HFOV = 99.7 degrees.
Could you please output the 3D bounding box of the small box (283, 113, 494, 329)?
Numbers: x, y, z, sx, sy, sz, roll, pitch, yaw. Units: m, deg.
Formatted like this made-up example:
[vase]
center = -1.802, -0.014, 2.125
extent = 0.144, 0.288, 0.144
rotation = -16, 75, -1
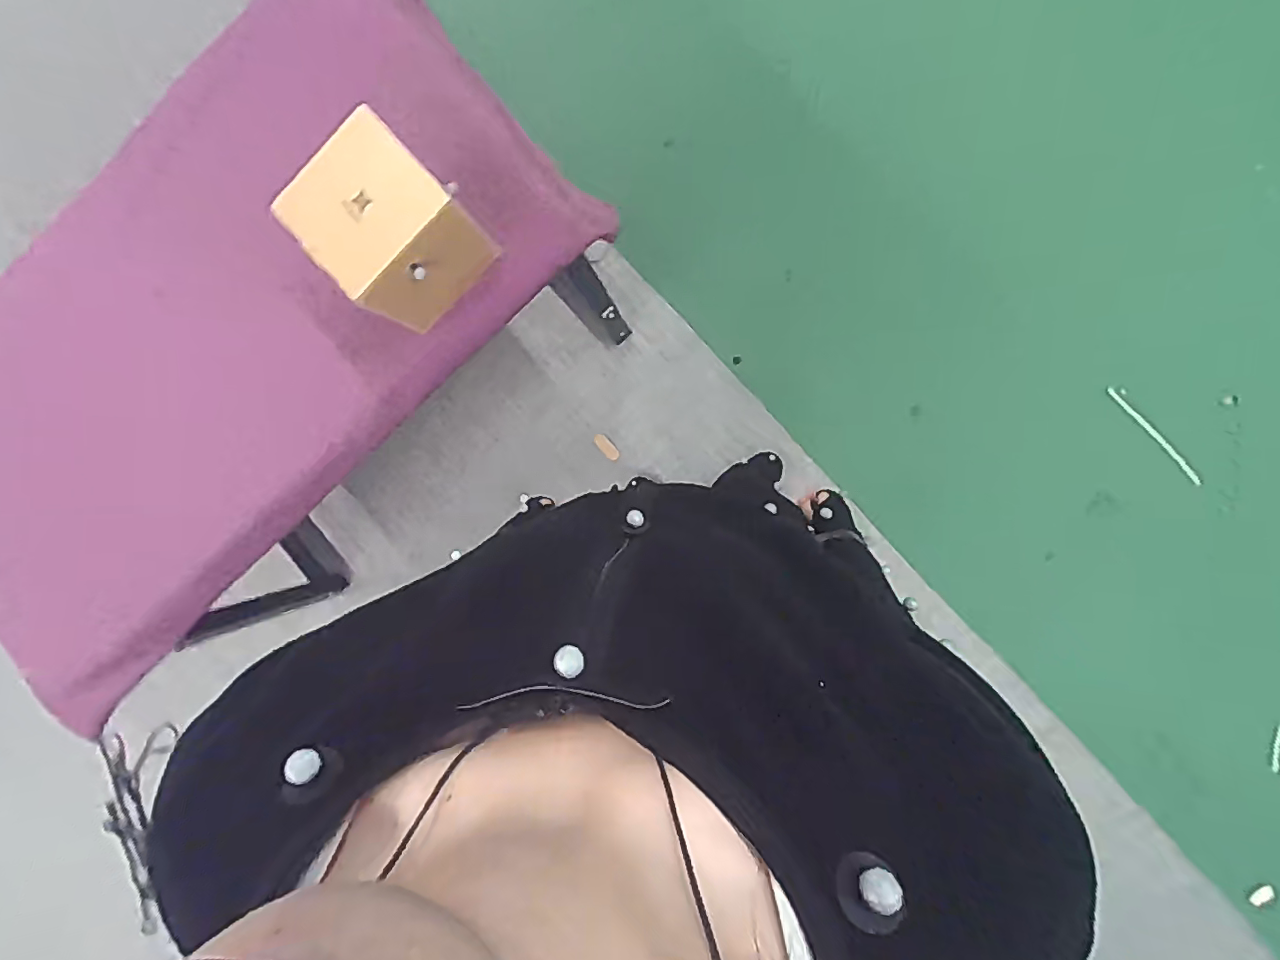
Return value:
[small box]
center = -0.326, -0.339, 0.746
extent = 0.179, 0.176, 0.168
rotation = -44, 87, 8
